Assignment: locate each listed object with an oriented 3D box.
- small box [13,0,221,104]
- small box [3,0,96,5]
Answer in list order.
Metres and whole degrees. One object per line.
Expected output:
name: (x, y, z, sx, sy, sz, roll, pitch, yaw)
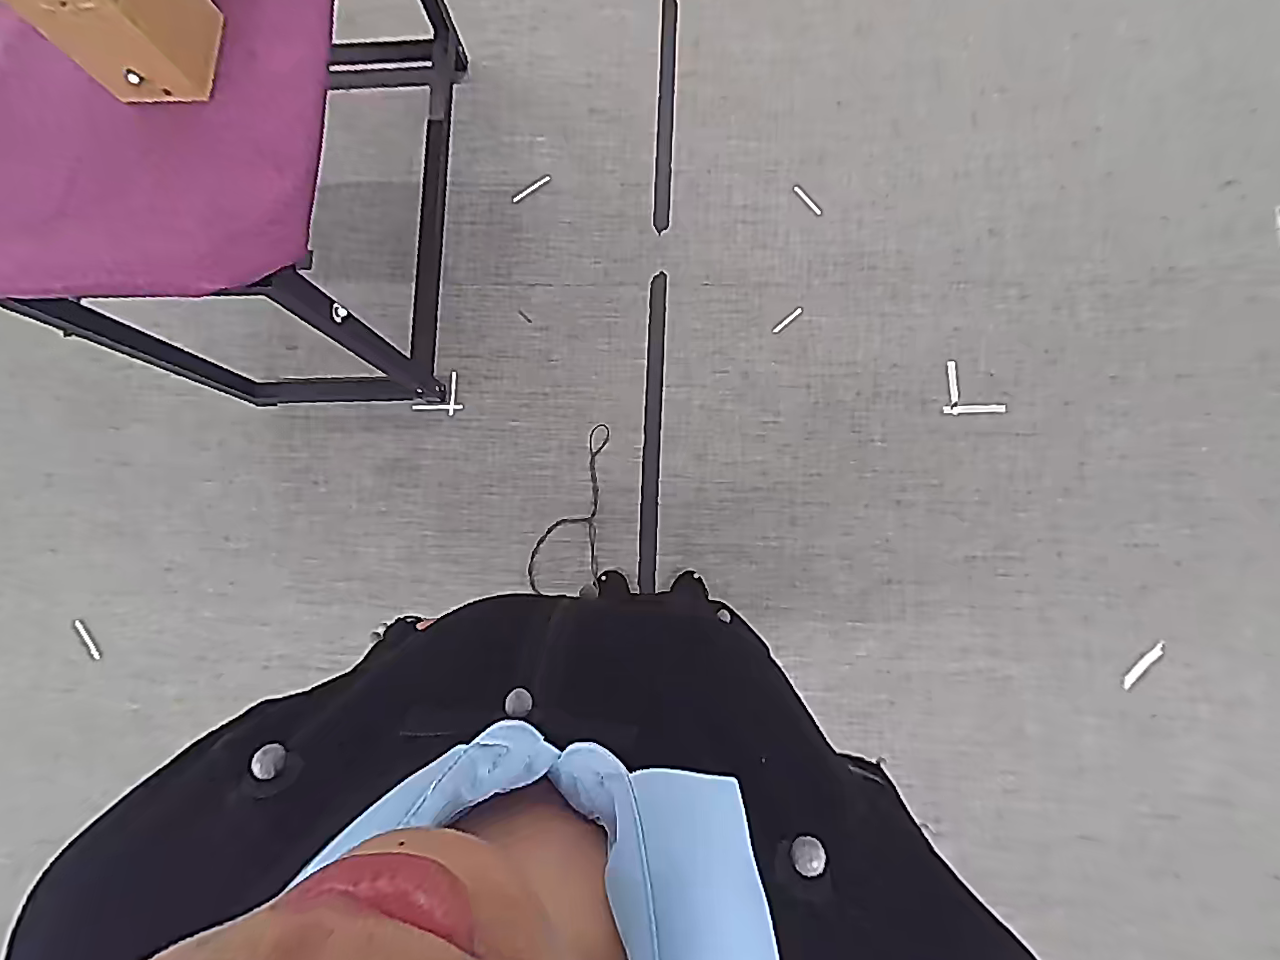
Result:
small box: (-0.834, -0.760, 0.883, 0.168, 0.176, 0.179, 2, 81, 4)
small box: (-0.850, -0.786, 0.721, 0.179, 0.176, 0.168, 0, 81, 4)
